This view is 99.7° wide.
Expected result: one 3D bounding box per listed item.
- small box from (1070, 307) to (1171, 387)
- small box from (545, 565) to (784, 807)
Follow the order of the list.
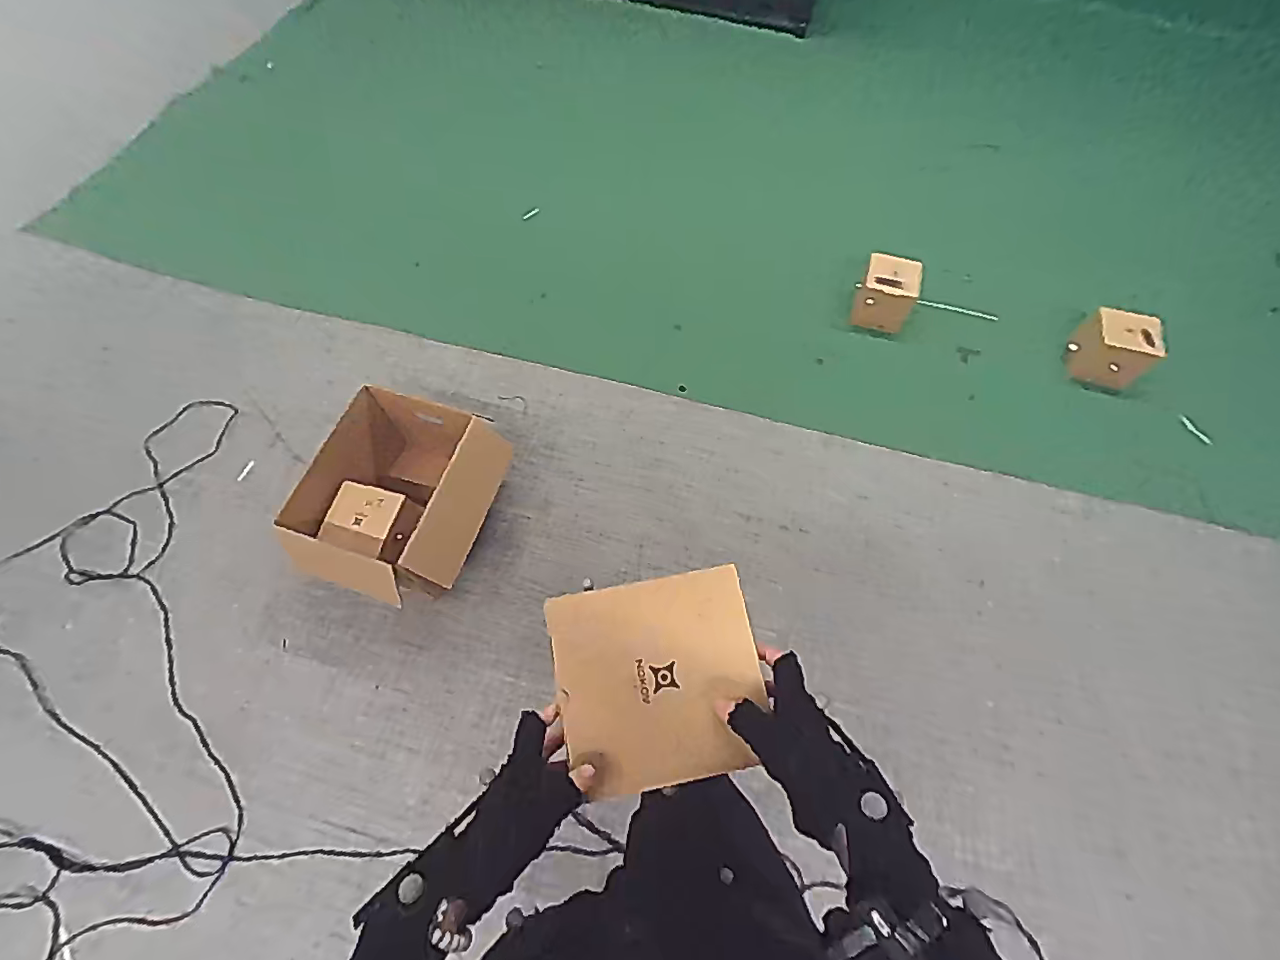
[{"bbox_3d":[1.533,-0.421,1.734,0.179,0.176,0.168,16,64,7],"label":"small box"},{"bbox_3d":[0.017,0.186,0.527,0.179,0.176,0.168,-12,75,-3],"label":"small box"}]
